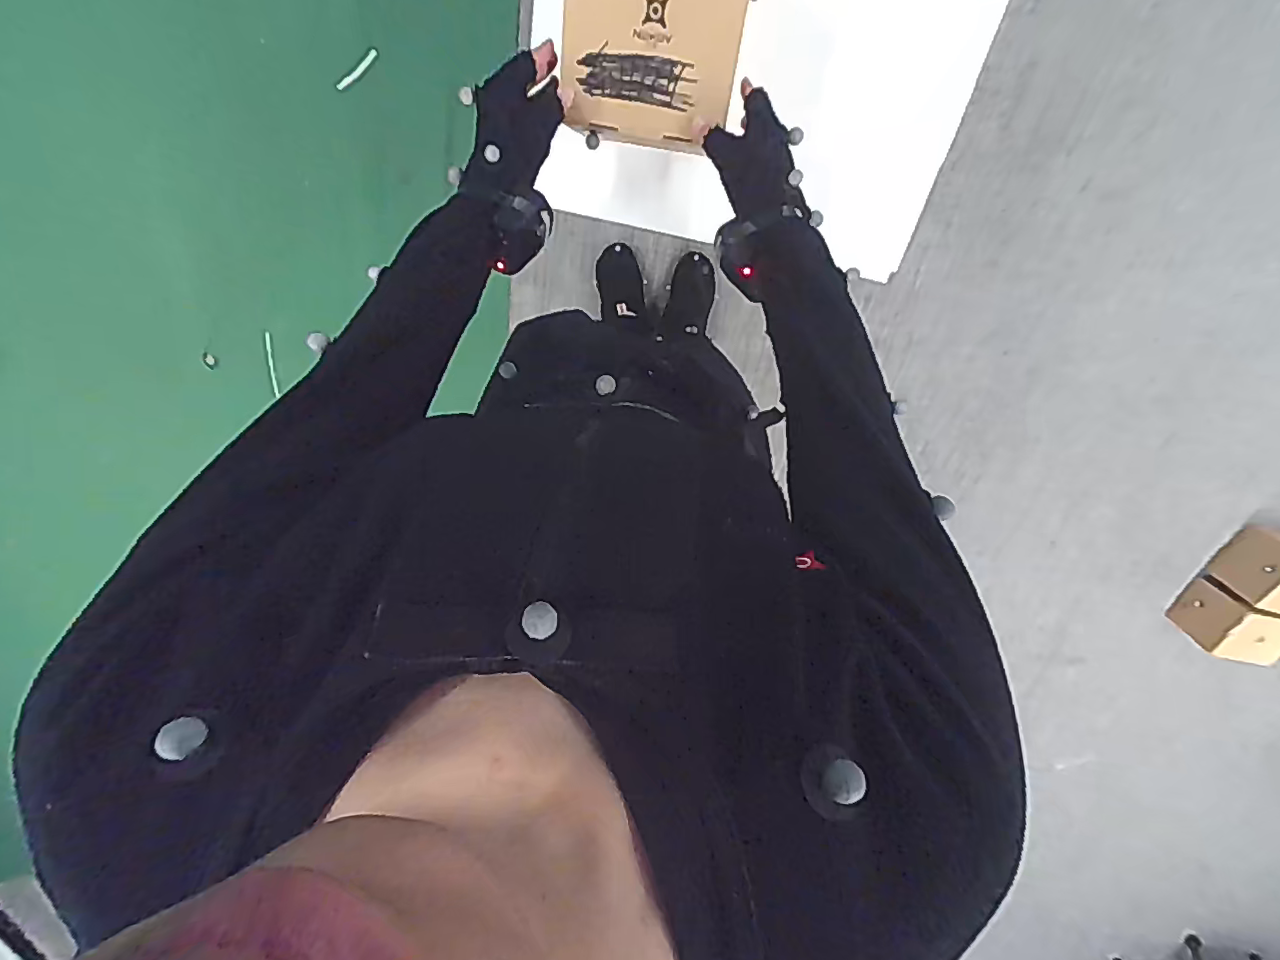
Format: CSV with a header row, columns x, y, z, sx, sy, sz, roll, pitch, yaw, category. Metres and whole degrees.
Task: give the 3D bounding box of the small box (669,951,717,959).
x,y,z,sx,sy,sz,roll,pitch,yaw,category
0.143,1.371,1.401,0.168,0.176,0.179,12,119,-2,small box
